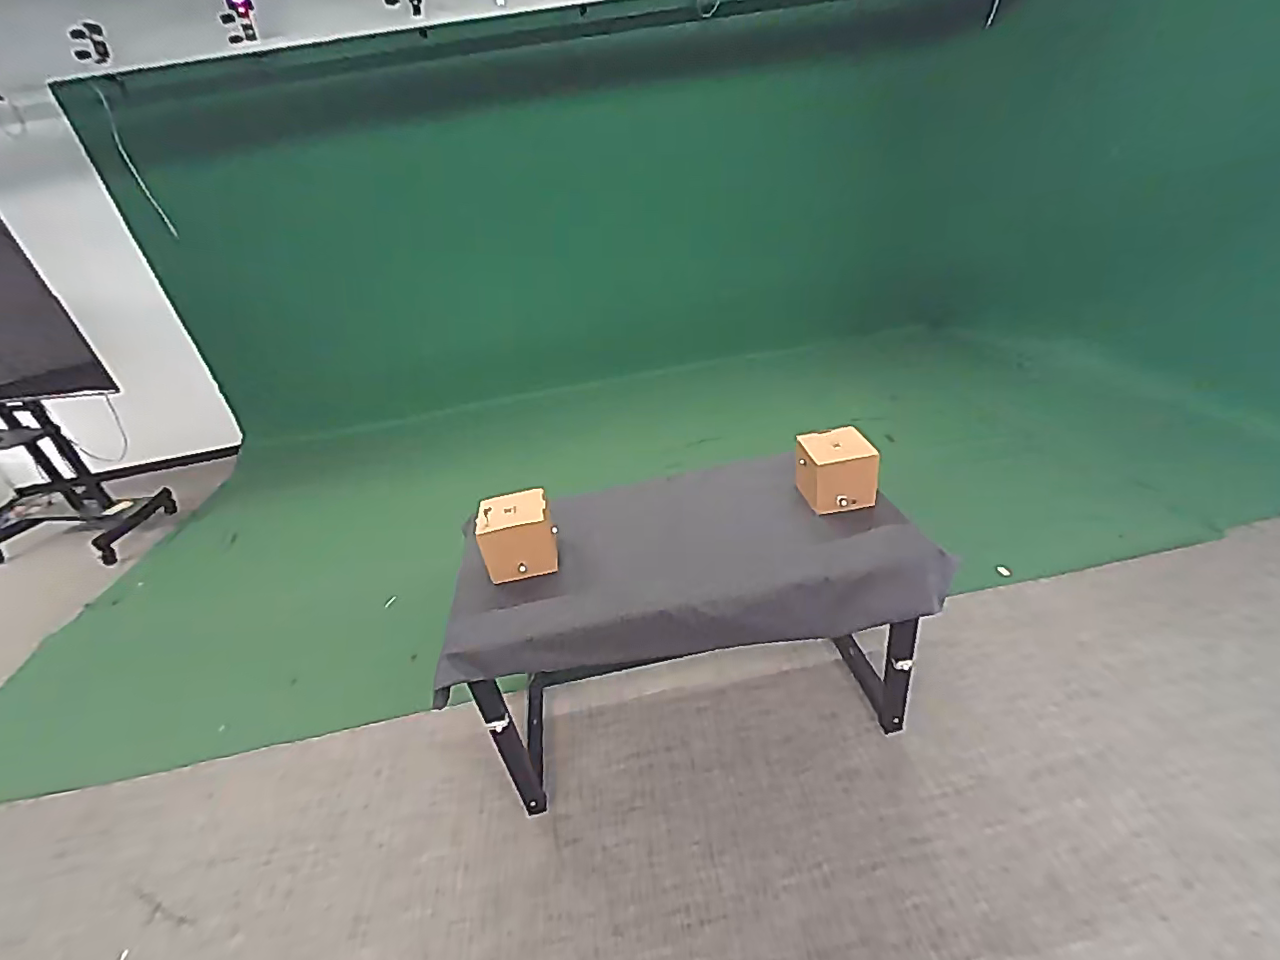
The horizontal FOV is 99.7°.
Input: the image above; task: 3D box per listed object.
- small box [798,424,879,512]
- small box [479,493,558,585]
[{"bbox_3d":[0.546,-0.033,1.506,0.168,0.176,0.179,-10,31,3],"label":"small box"},{"bbox_3d":[-0.320,0.159,1.464,0.179,0.176,0.168,-11,30,-4],"label":"small box"}]
